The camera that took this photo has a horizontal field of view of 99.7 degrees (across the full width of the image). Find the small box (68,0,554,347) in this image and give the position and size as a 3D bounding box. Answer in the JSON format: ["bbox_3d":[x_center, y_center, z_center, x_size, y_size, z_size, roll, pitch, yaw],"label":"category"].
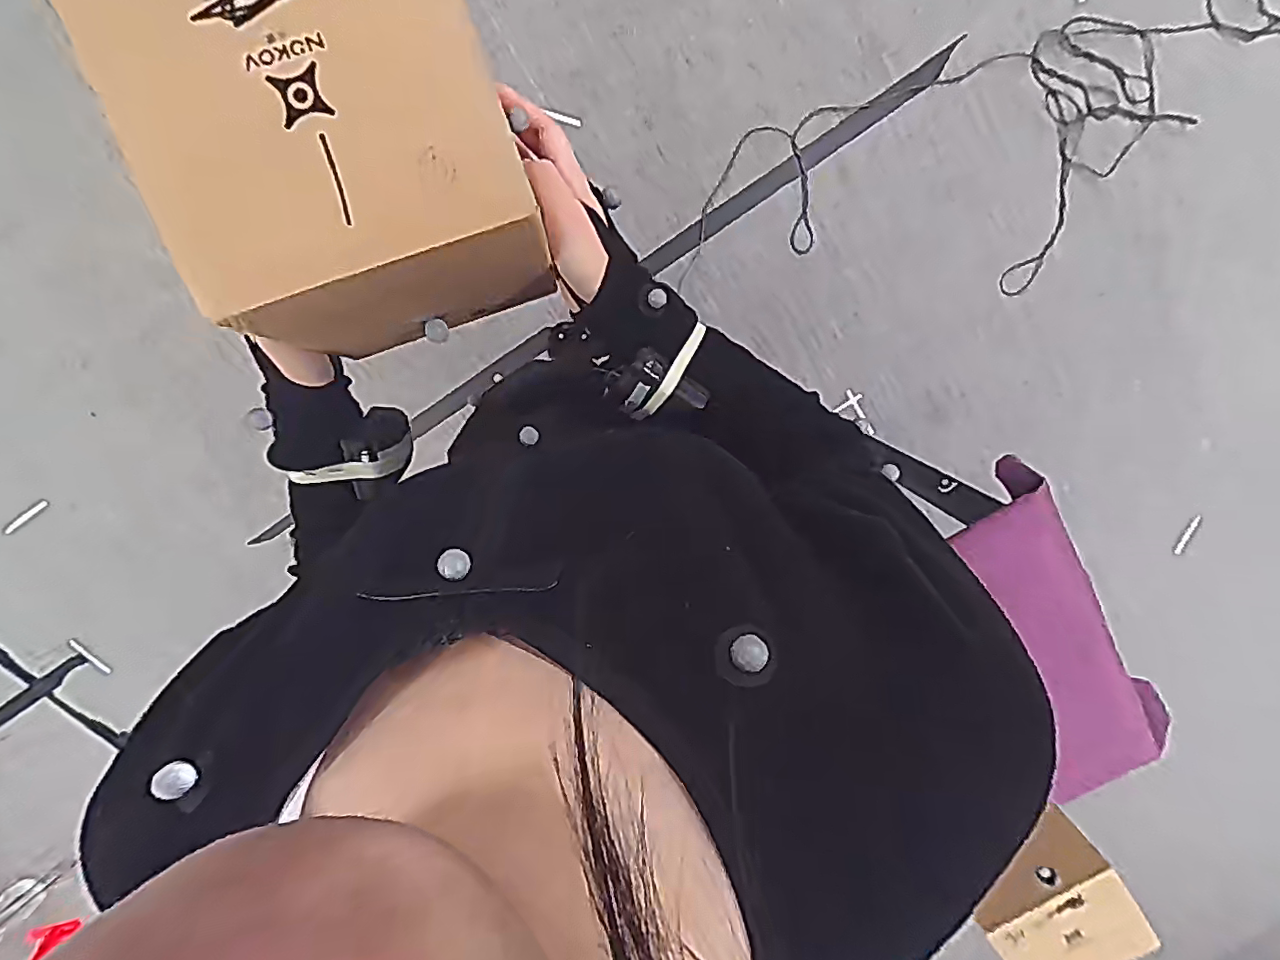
[{"bbox_3d":[-0.157,-0.193,0.318,0.168,0.176,0.179,-19,99,-3],"label":"small box"}]

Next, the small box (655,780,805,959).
[{"bbox_3d":[0.140,0.648,0.904,0.179,0.176,0.168,-31,107,7],"label":"small box"}]

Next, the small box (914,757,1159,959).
[{"bbox_3d":[0.507,0.513,0.713,0.168,0.176,0.179,-36,108,7],"label":"small box"}]
